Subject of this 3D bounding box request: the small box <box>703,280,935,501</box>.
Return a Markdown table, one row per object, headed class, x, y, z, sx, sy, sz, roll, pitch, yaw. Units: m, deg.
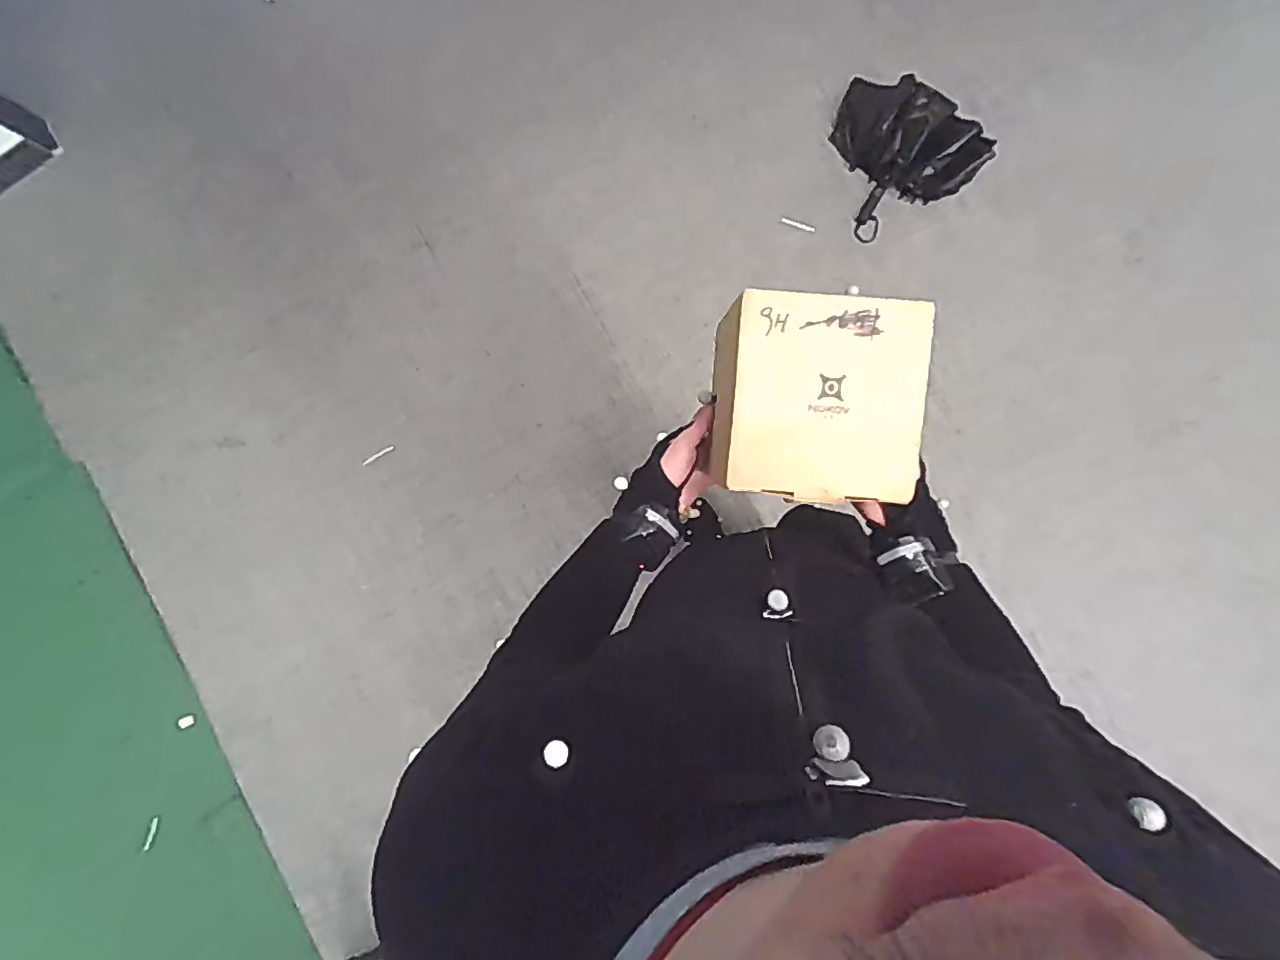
| class | x | y | z | sx | sy | sz | roll | pitch | yaw |
| --- | --- | --- | --- | --- | --- | --- | --- | --- | --- |
| small box | 0.158 | -0.083 | 0.537 | 0.168 | 0.176 | 0.179 | 4 | 96 | -1 |
